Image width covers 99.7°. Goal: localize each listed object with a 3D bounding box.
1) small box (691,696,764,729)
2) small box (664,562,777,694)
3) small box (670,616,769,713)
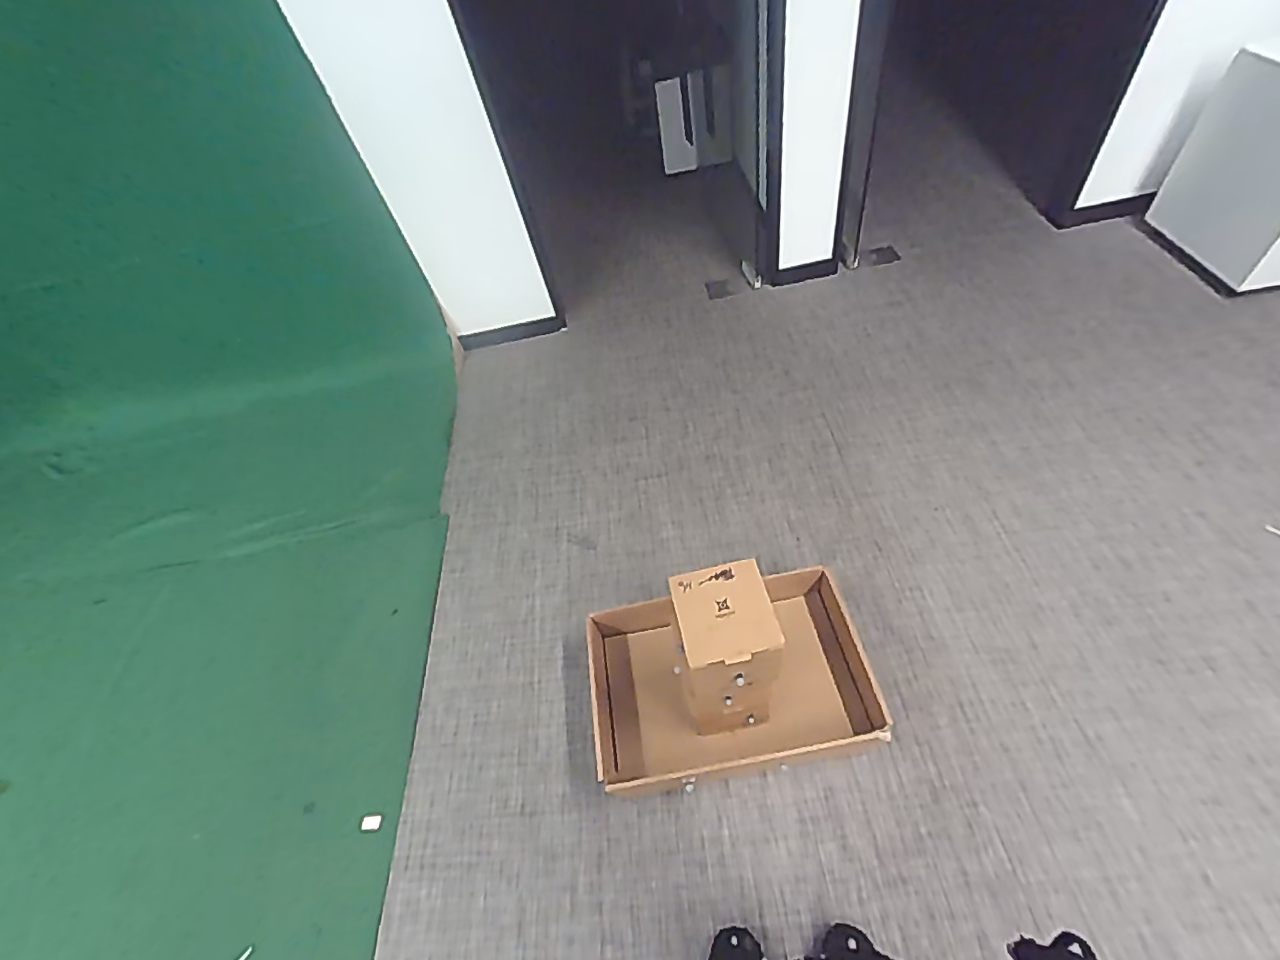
[{"bbox_3d":[0.190,0.469,1.272,0.168,0.176,0.179,-12,49,1],"label":"small box"},{"bbox_3d":[0.153,0.288,1.025,0.168,0.176,0.179,-16,50,0],"label":"small box"},{"bbox_3d":[0.168,0.382,1.155,0.179,0.176,0.168,-11,50,3],"label":"small box"}]
